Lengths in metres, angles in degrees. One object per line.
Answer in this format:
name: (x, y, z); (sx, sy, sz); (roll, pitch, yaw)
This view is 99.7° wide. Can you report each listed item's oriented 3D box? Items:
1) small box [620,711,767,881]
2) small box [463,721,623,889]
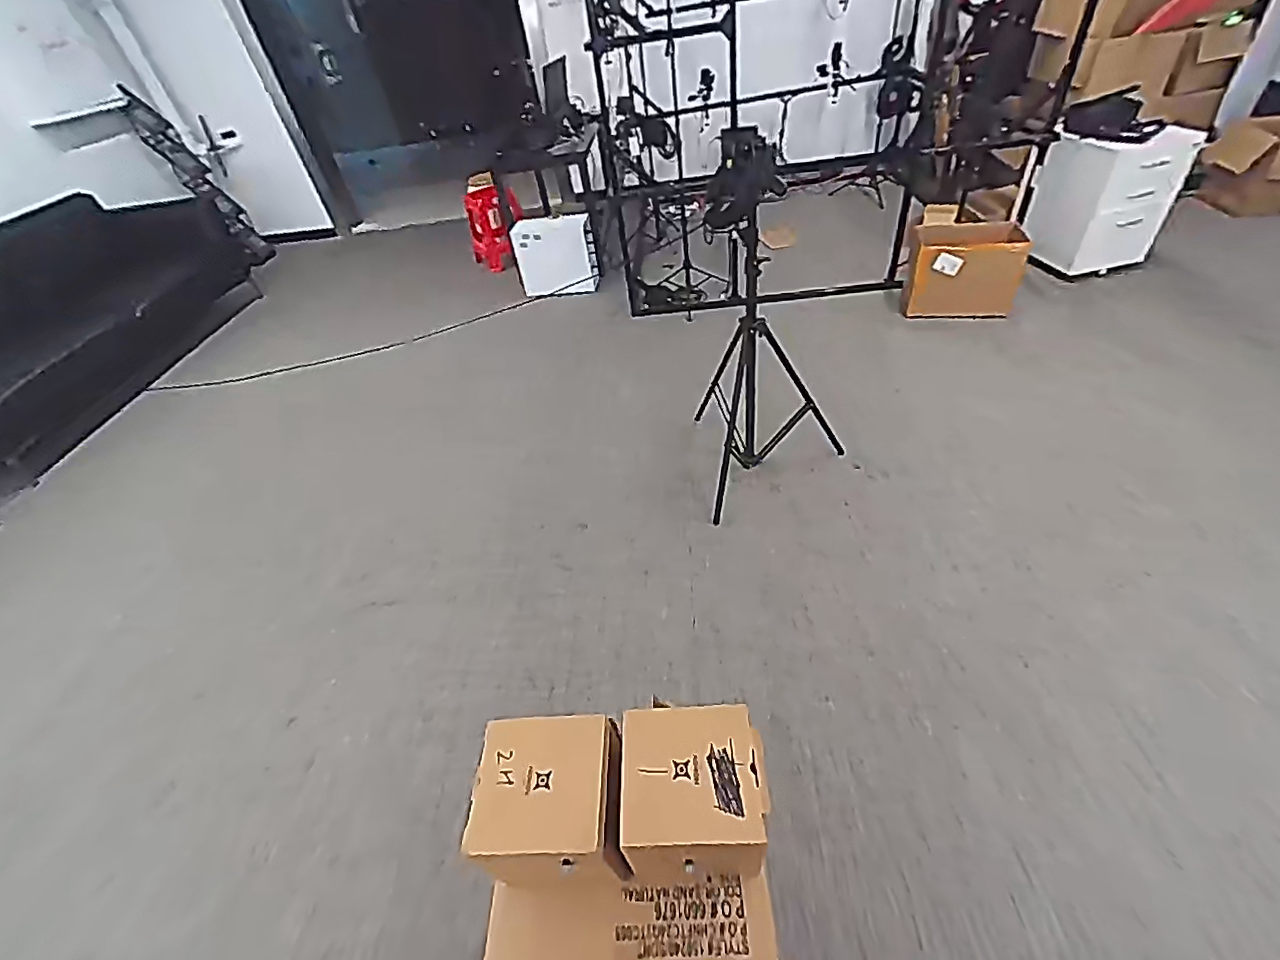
small box: (0.072, 0.438, 0.750); (0.179, 0.176, 0.168); (-5, 43, 5)
small box: (-0.117, 0.459, 0.764); (0.179, 0.176, 0.168); (-7, 42, 8)
